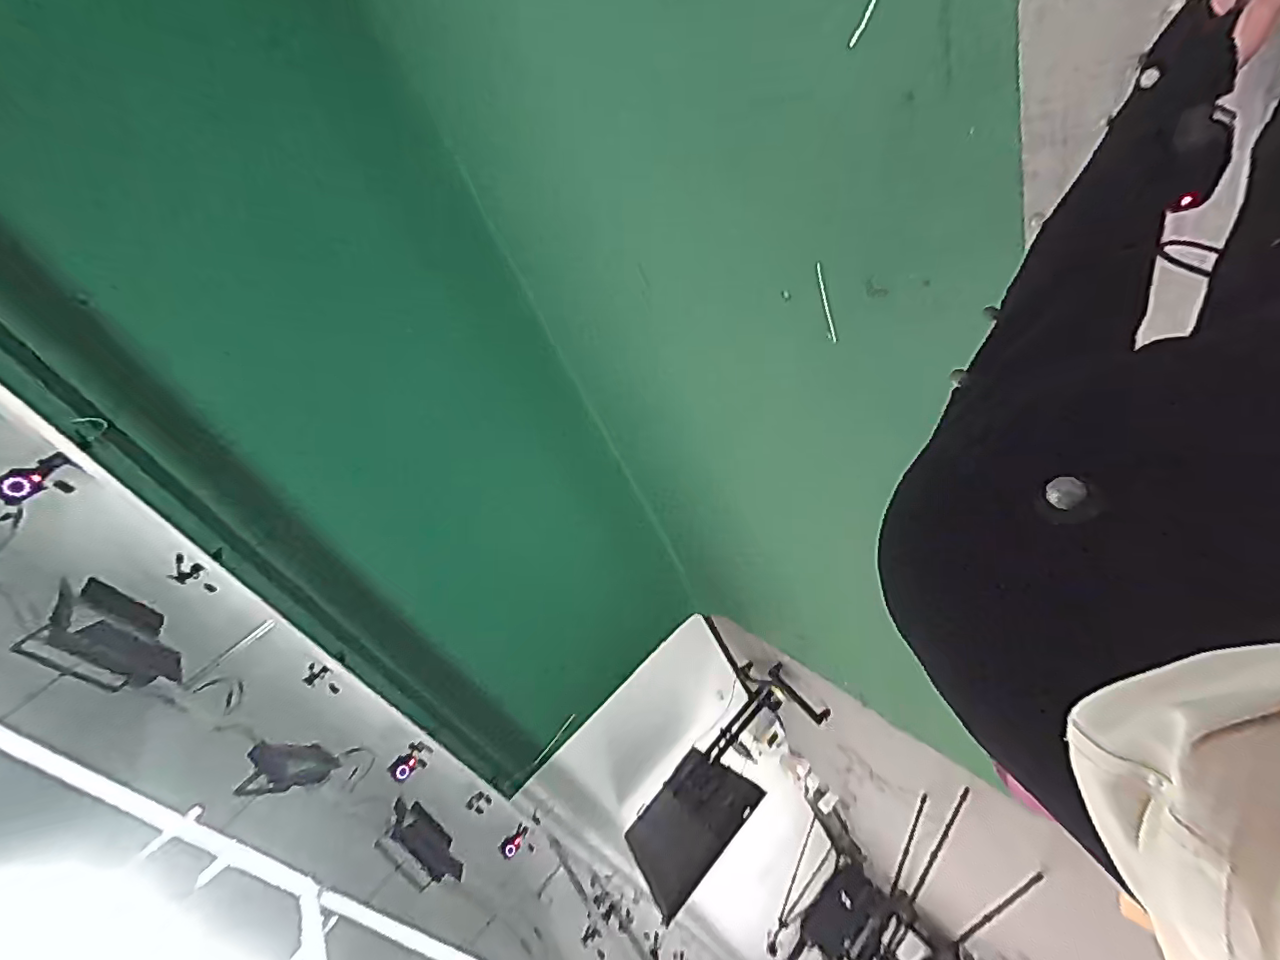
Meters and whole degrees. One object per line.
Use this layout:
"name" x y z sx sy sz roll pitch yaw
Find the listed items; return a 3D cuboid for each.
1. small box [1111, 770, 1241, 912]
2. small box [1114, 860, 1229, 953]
"small box" 1.193 0.799 1.209 0.168 0.176 0.179 21 147 52
"small box" 1.310 0.998 1.337 0.168 0.176 0.179 19 144 52
